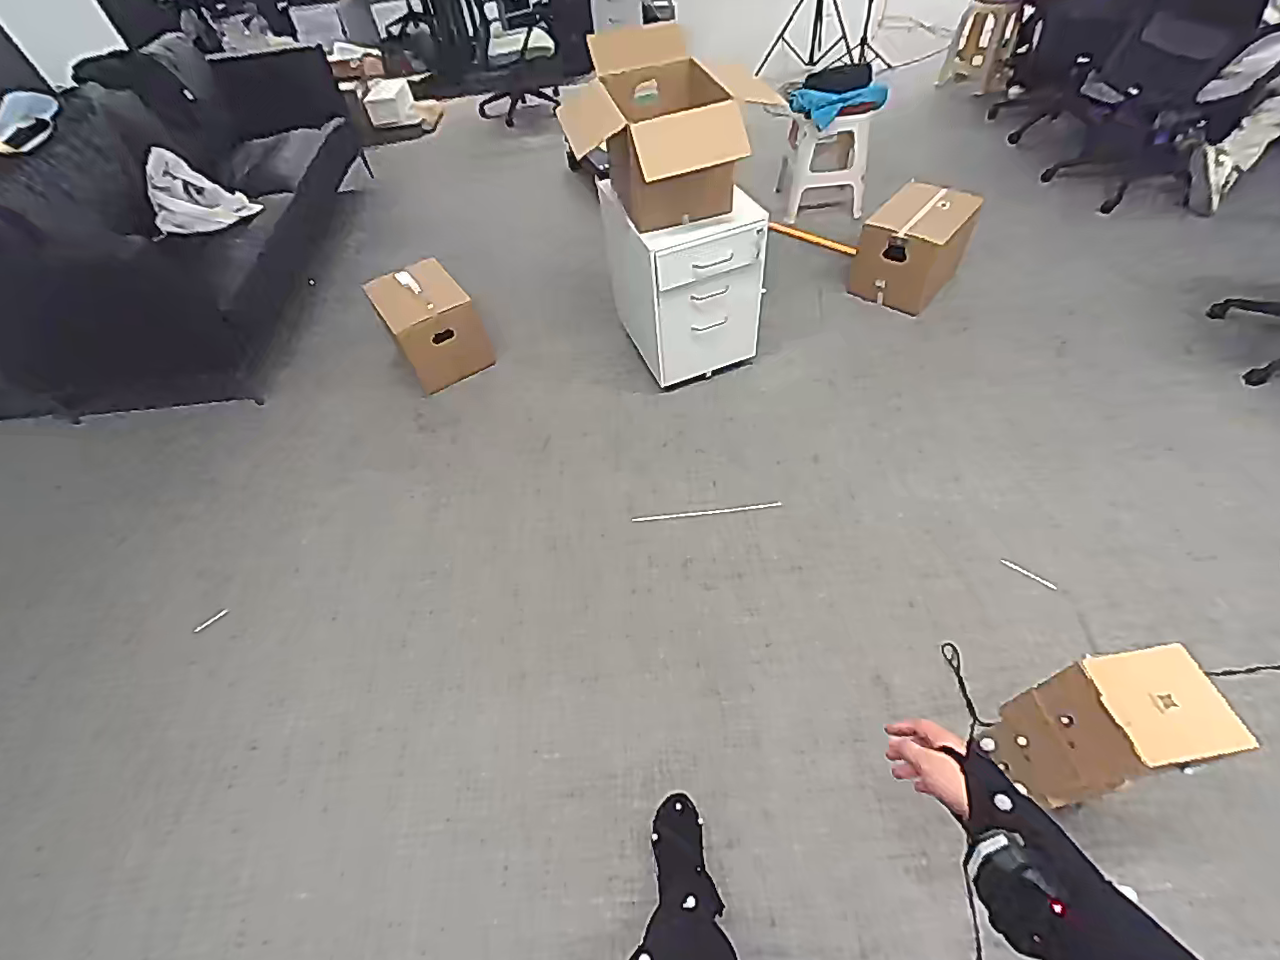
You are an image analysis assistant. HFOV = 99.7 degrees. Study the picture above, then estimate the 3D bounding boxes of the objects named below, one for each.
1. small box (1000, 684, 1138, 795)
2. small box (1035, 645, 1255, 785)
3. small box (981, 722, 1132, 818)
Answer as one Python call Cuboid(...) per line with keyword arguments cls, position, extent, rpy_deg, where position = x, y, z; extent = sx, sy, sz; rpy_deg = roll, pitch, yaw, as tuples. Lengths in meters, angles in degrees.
Cuboid(cls="small box", position=(0.847, 0.493, 1.041), extent=(0.179, 0.176, 0.168), rpy_deg=(-10, 51, 1))
Cuboid(cls="small box", position=(0.826, 0.398, 0.910), extent=(0.179, 0.176, 0.168), rpy_deg=(-11, 51, 0))
Cuboid(cls="small box", position=(0.869, 0.607, 1.158), extent=(0.179, 0.176, 0.168), rpy_deg=(-12, 52, -2))
